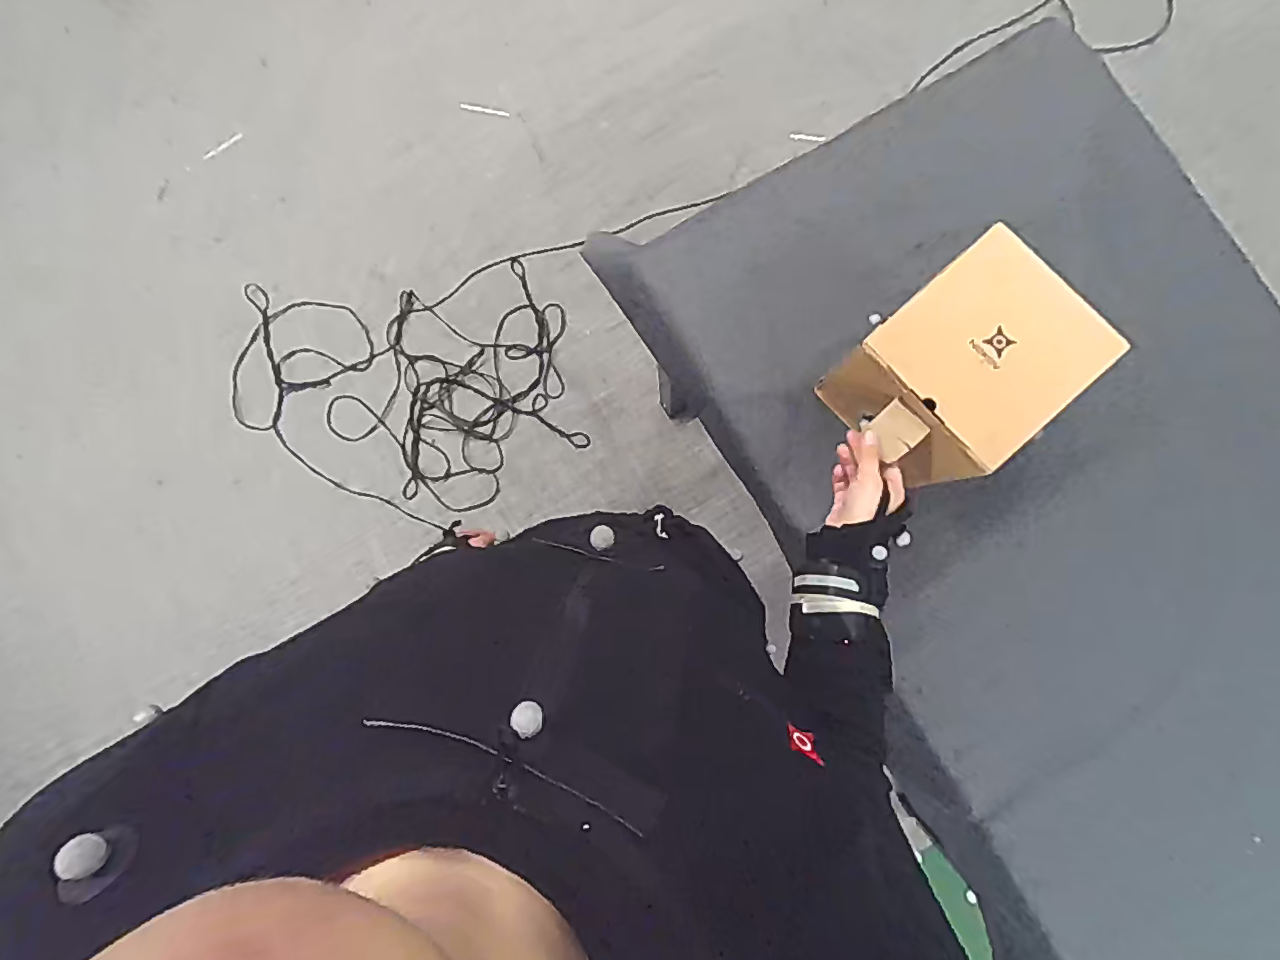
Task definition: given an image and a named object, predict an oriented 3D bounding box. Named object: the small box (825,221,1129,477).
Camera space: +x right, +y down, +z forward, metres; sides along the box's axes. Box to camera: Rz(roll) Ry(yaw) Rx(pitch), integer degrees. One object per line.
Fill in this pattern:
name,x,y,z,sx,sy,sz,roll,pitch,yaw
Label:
small box,0.330,-0.120,0.573,0.179,0.176,0.168,-42,85,-1
